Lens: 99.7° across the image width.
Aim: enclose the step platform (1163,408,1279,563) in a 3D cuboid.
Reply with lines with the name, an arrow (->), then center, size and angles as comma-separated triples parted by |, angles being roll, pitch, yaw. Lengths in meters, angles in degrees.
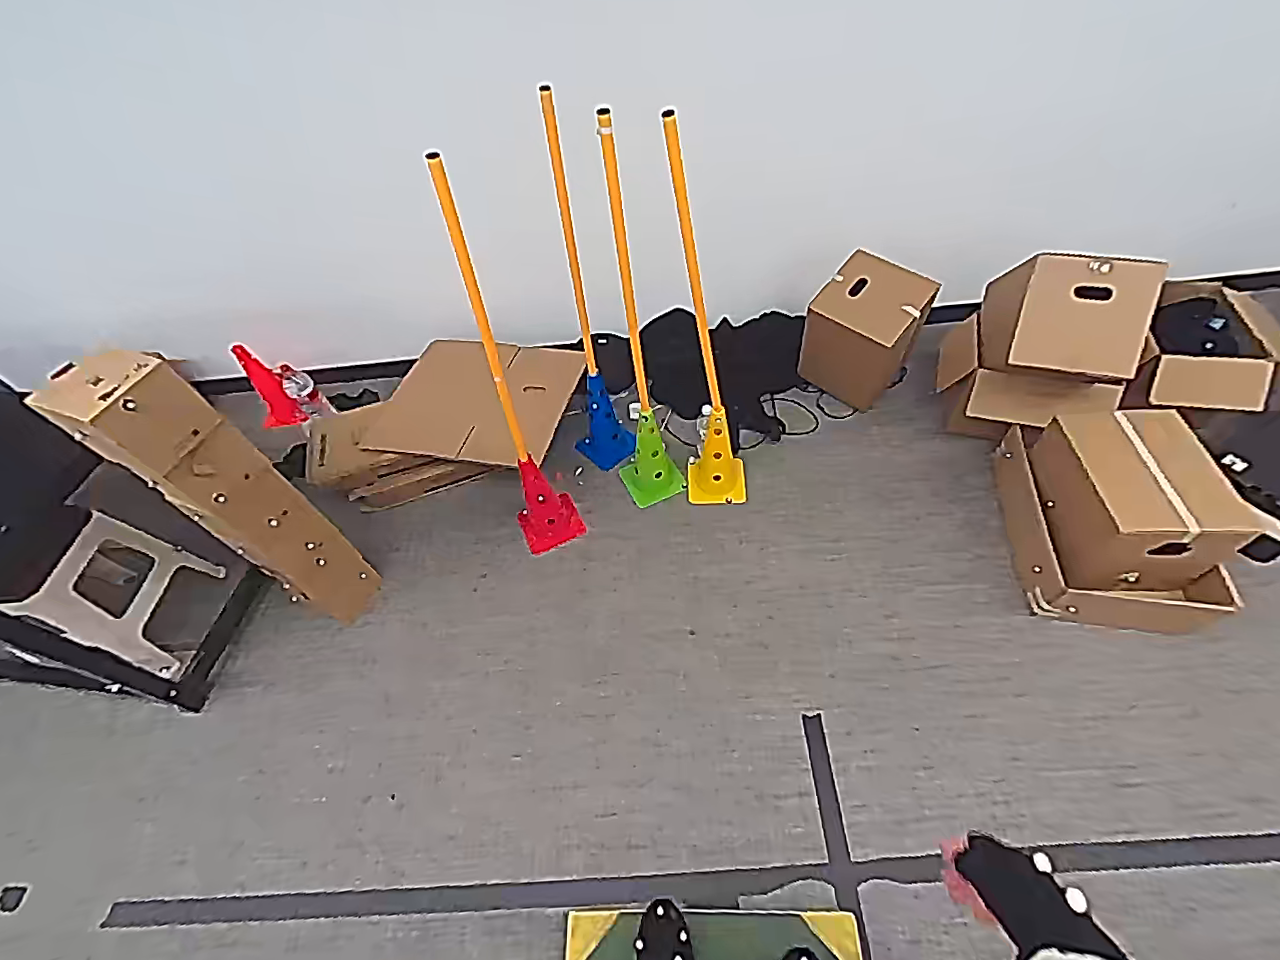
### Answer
step platform -> 1.989, -0.036, 1.653 | 0.684, 0.204, 0.286 | -28, 54, -14
